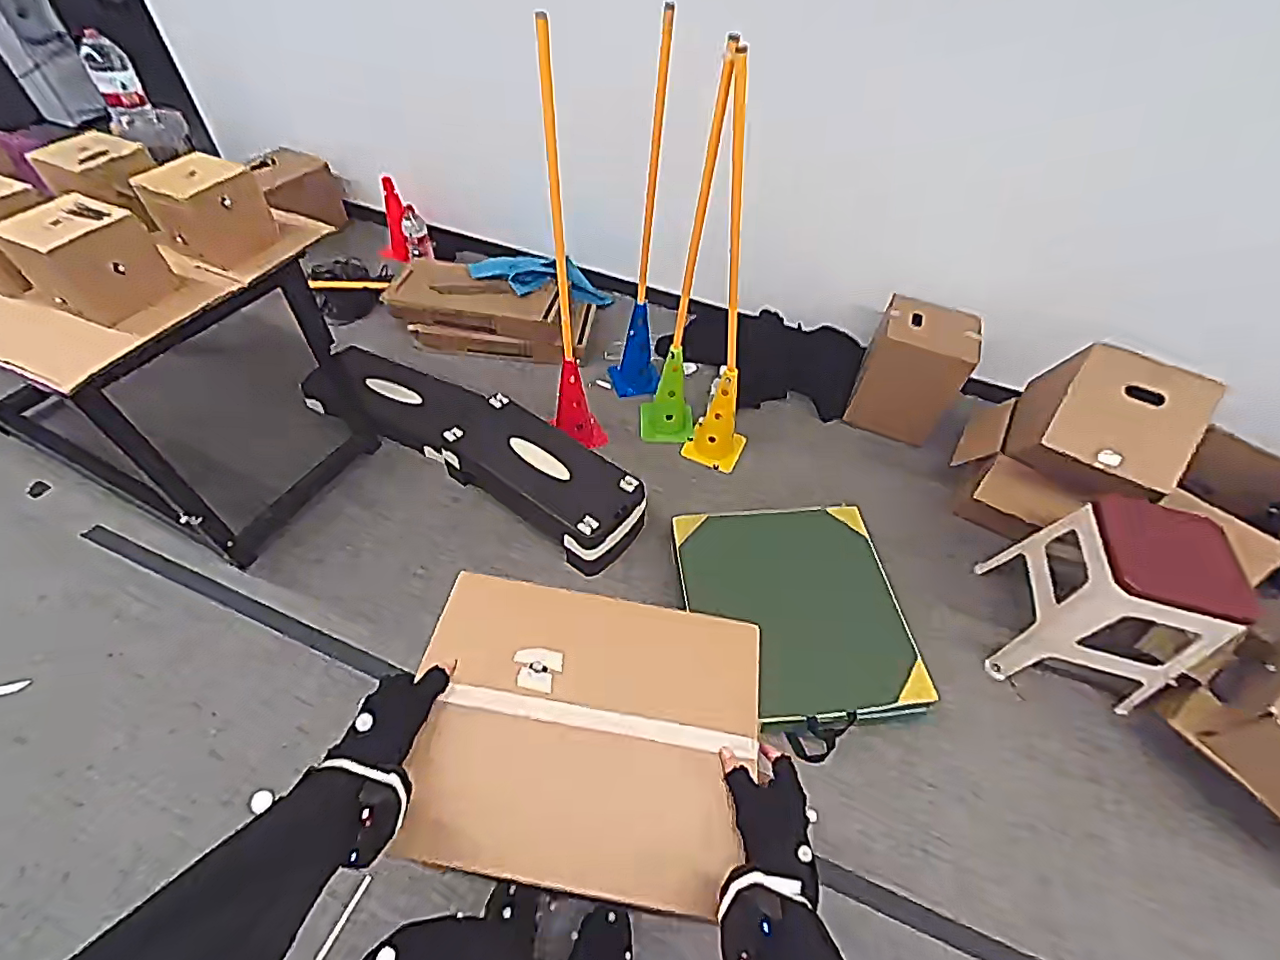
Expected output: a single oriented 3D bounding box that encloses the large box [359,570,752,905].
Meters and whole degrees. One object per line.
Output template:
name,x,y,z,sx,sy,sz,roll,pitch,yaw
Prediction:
large box,-0.077,0.361,0.749,0.408,0.320,0.320,10,50,3
